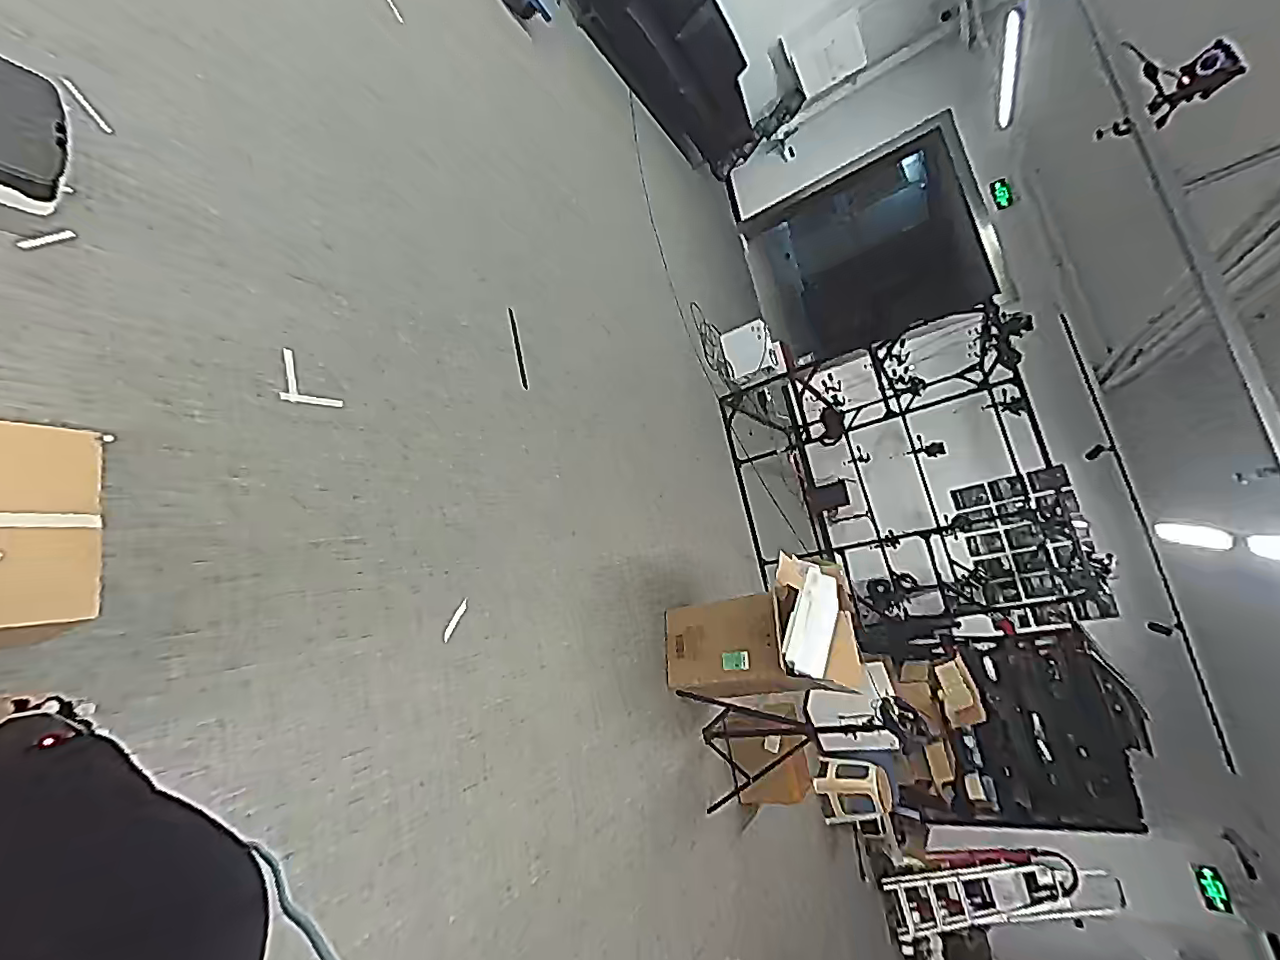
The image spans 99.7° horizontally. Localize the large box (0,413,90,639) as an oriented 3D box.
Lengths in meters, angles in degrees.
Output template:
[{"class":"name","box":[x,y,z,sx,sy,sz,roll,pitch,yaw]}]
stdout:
[{"class":"large box","box":[-1.104,0.078,0.756,0.408,0.320,0.320,11,66,-60]}]
